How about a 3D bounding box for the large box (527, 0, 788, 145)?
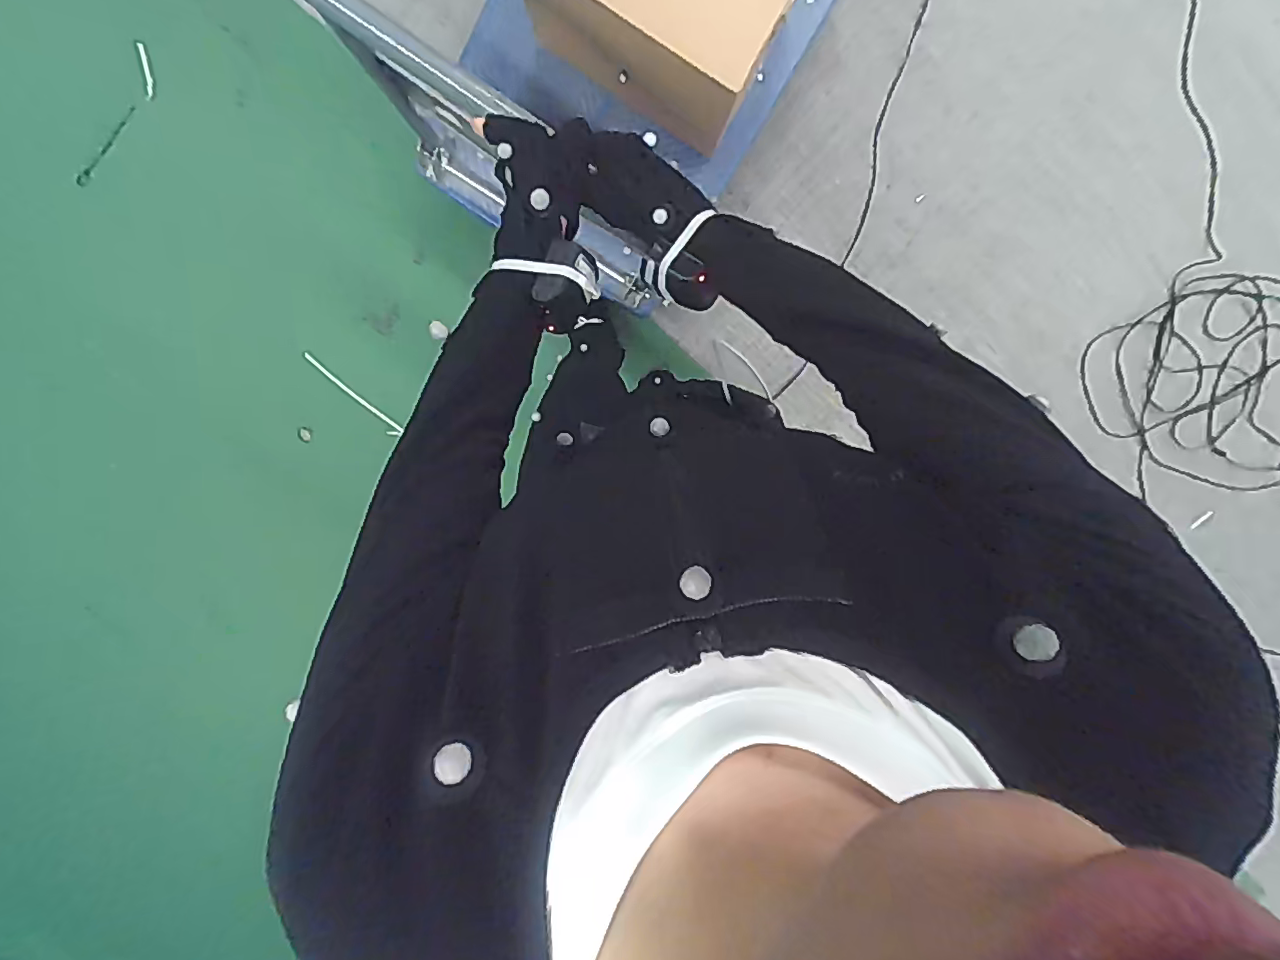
[{"bbox_3d":[0.048,-0.863,0.916,0.408,0.320,0.320,28,103,-8],"label":"large box"}]
